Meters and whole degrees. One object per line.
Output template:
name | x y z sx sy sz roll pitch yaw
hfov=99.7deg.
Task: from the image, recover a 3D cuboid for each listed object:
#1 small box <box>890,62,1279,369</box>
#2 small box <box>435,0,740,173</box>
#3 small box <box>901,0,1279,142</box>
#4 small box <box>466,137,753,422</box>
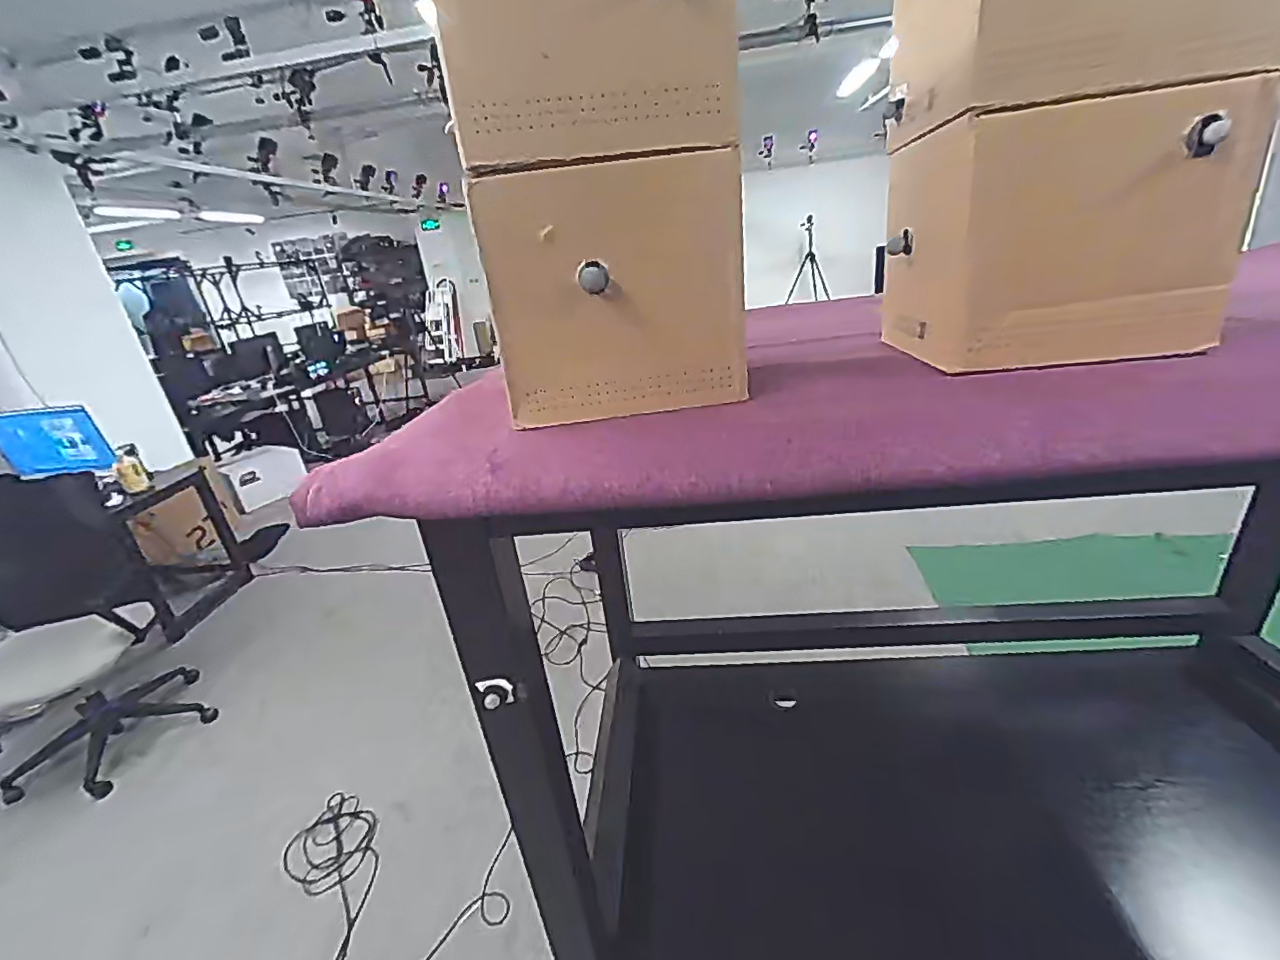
small box | 0.309 -0.187 0.424 0.179 0.176 0.168 -3 23 8
small box | -0.035 -0.301 0.368 0.179 0.176 0.168 -9 23 -5
small box | 0.292 -0.340 0.366 0.179 0.176 0.168 -2 23 7
small box | -0.017 -0.152 0.433 0.179 0.176 0.168 -8 25 -2
